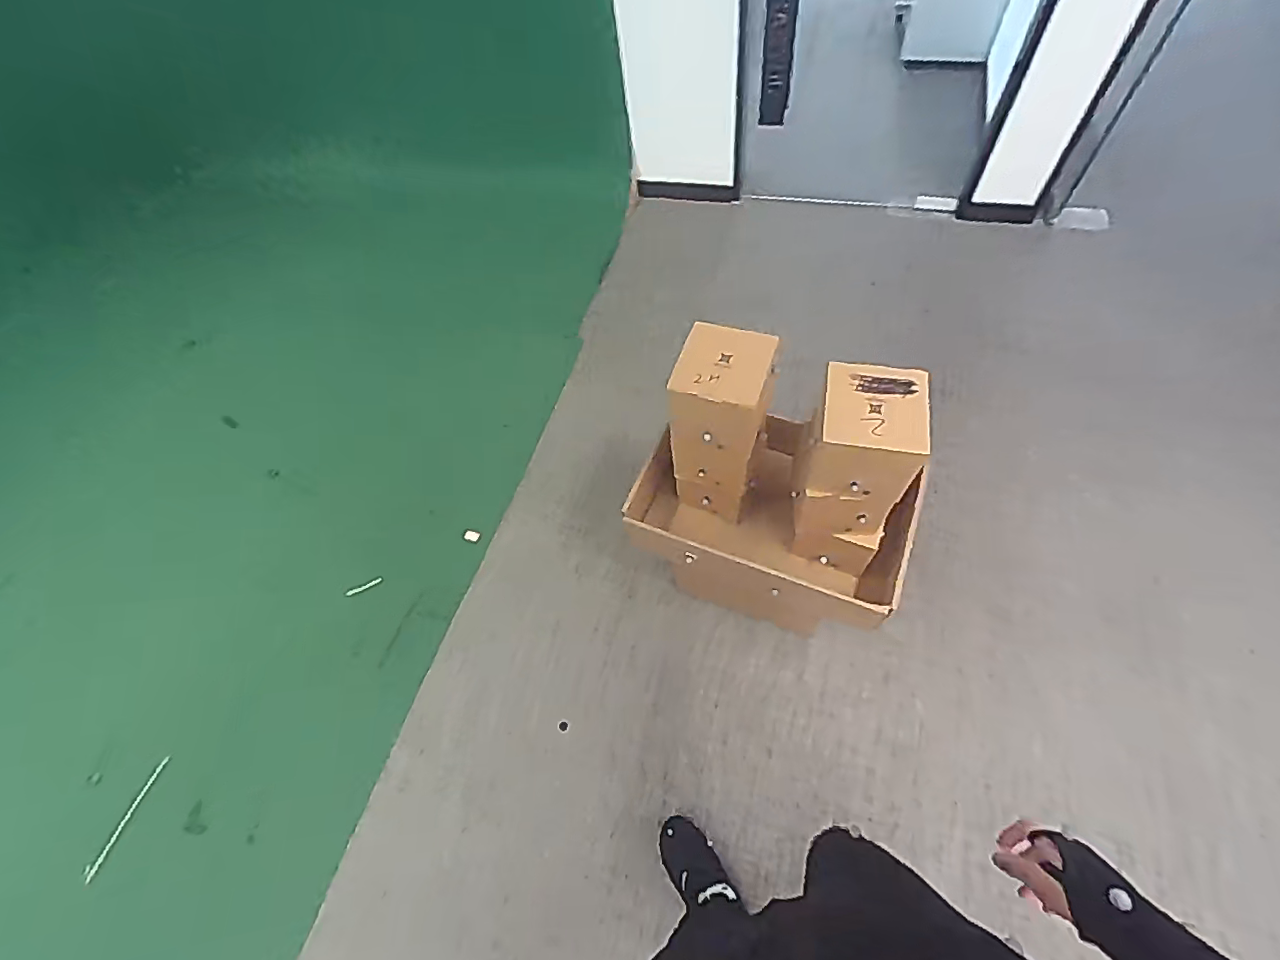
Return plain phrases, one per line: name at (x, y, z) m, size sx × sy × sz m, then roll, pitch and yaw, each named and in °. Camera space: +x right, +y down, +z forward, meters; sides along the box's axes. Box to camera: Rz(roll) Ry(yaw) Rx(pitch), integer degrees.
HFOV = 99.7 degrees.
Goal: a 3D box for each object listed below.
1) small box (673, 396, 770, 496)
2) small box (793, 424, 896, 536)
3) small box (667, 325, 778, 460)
small box at (0.180, -0.092, 1.203) m, size 0.168 × 0.176 × 0.179 m, roll 16°, pitch 63°, yaw 16°
small box at (0.410, 0.004, 1.111) m, size 0.168 × 0.176 × 0.179 m, roll 2°, pitch 59°, yaw 9°
small box at (0.160, -0.168, 1.058) m, size 0.168 × 0.176 × 0.179 m, roll 15°, pitch 63°, yaw 17°
